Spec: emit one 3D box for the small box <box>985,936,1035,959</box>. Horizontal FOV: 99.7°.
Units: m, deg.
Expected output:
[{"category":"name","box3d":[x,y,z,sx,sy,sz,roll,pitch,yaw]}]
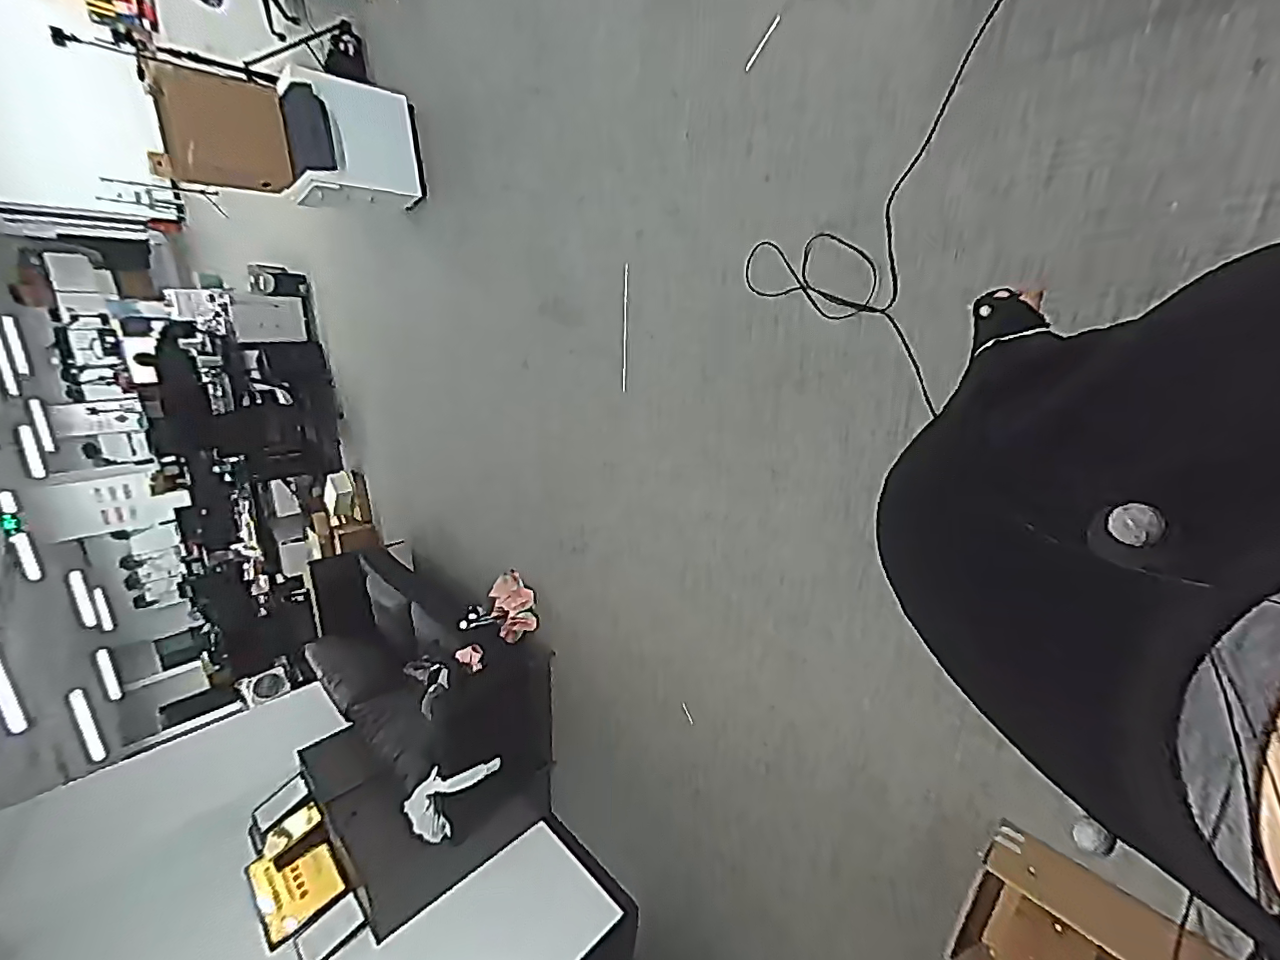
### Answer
[{"category":"small box","box3d":[0.880,1.229,1.254,0.168,0.176,0.179,23,116,40]}]
